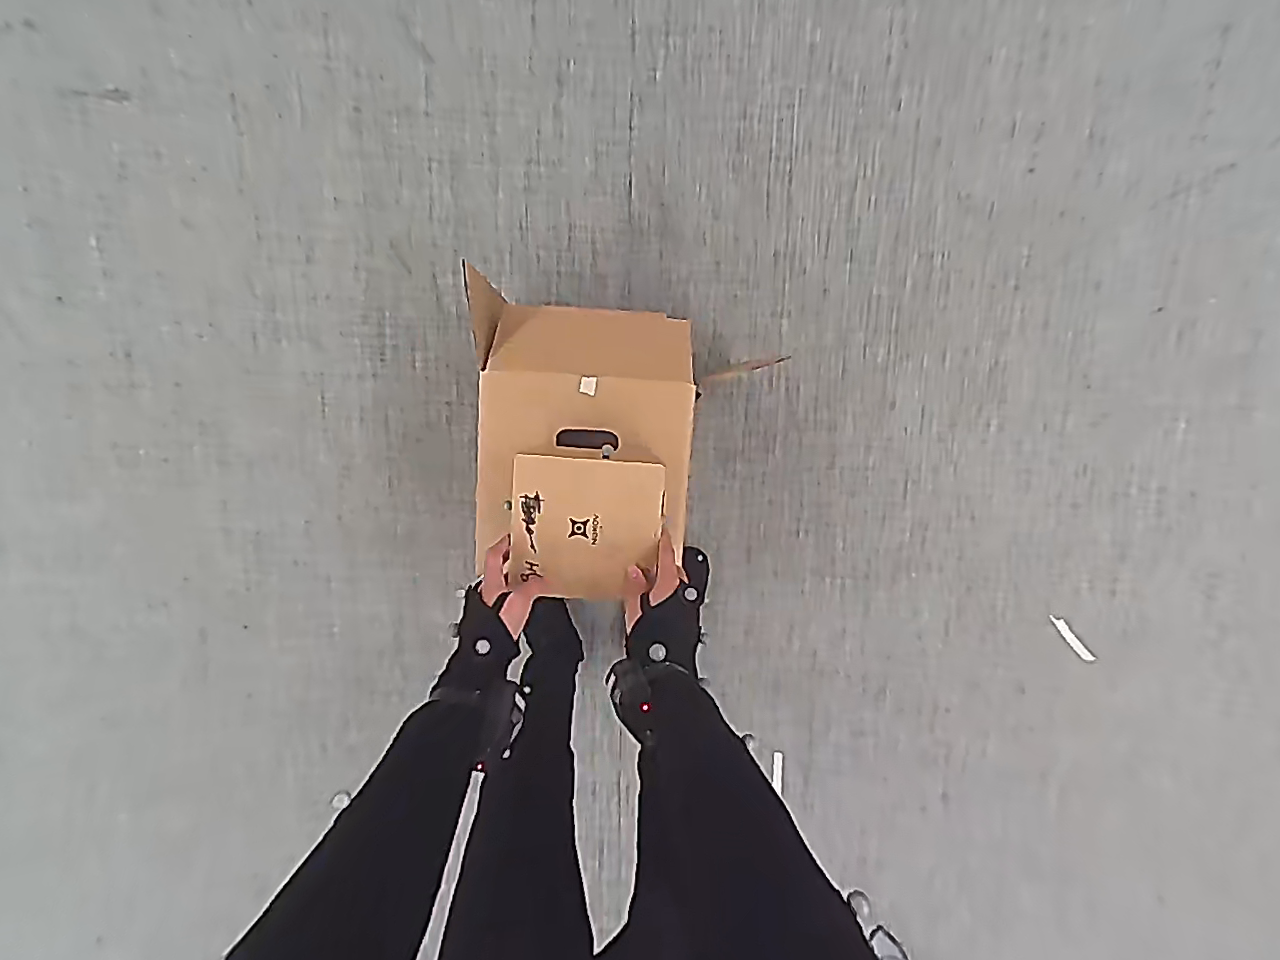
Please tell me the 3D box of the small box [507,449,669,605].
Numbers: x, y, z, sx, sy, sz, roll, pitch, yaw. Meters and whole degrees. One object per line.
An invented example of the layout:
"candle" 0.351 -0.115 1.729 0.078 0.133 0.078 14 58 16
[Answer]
"small box" -0.064 0.050 0.697 0.179 0.176 0.168 5 96 -3
